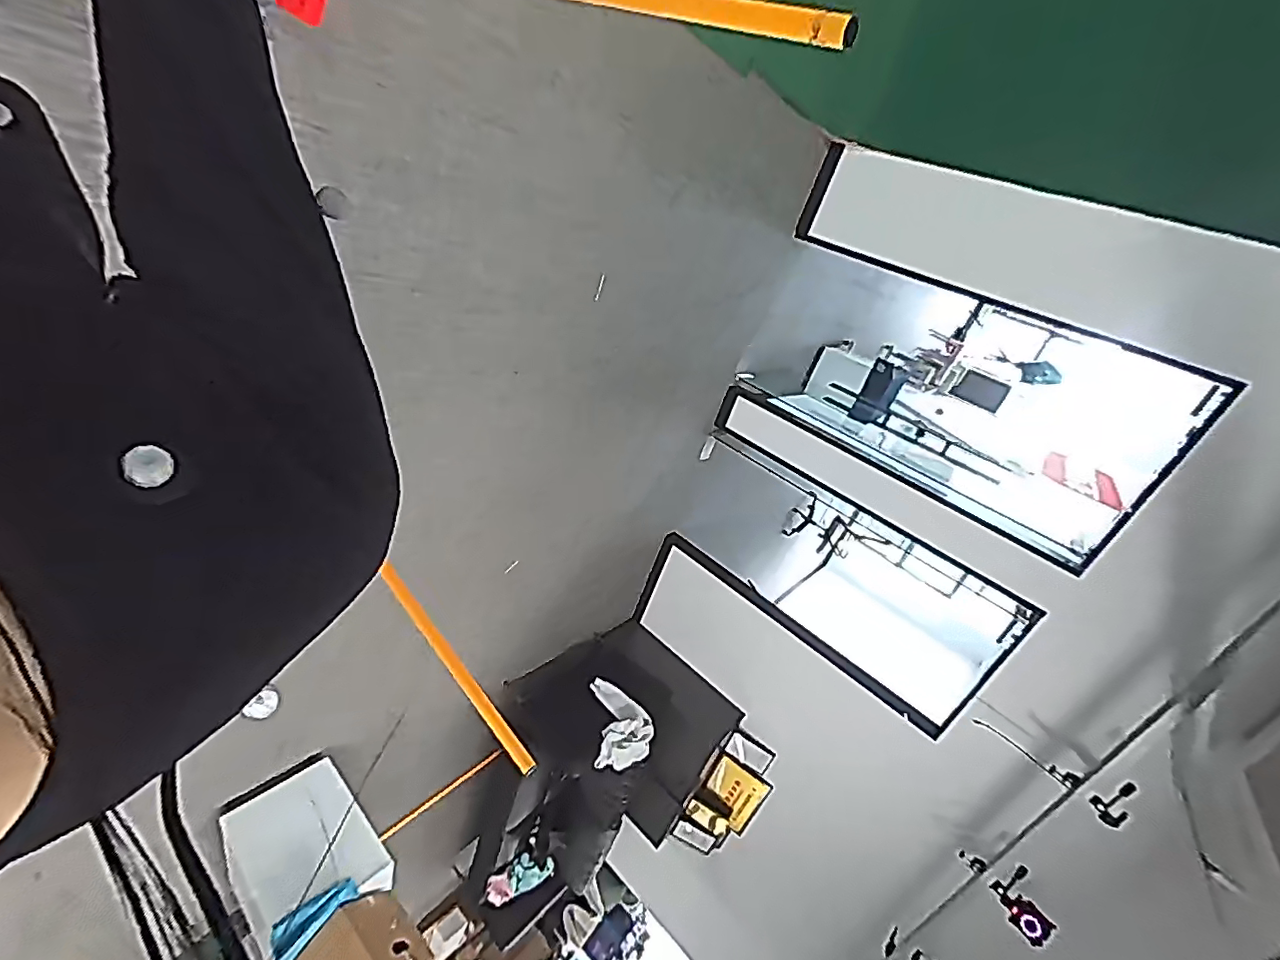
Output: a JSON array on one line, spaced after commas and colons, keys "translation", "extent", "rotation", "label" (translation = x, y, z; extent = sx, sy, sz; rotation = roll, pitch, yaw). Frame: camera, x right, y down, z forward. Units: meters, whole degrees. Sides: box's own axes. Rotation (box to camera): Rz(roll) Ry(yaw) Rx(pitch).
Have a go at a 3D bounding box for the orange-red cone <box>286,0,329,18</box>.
[{"translation": [-0.554, -0.946, 0.941], "extent": [0.198, 0.360, 0.199], "rotation": [1, 121, -57], "label": "orange-red cone"}]
